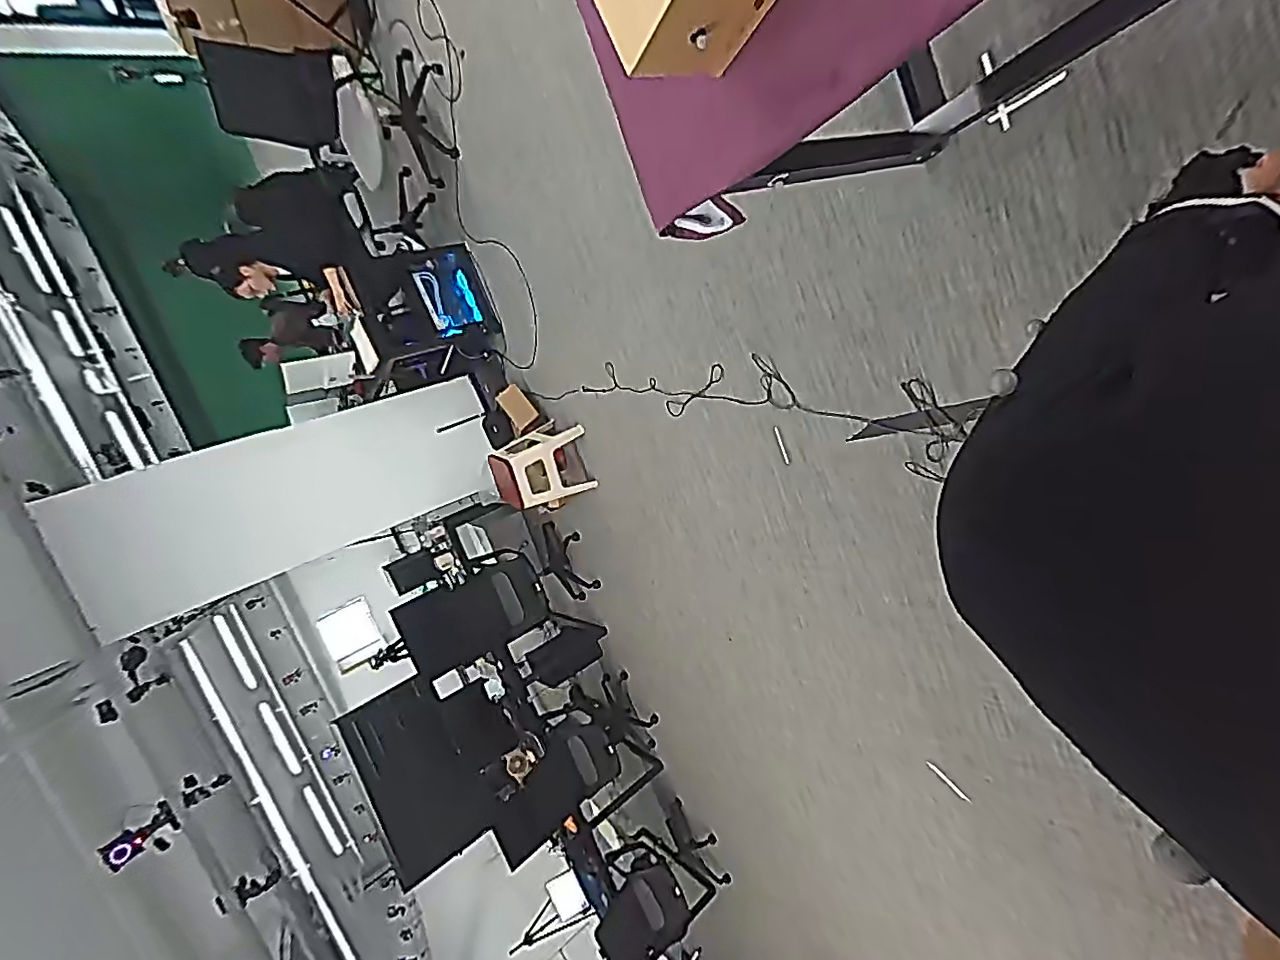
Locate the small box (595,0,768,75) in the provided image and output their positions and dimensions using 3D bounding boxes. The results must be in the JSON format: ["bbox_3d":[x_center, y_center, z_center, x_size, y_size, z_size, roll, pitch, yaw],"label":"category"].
[{"bbox_3d":[0.052,-0.621,0.631,0.168,0.176,0.179,-23,92,60],"label":"small box"}]
